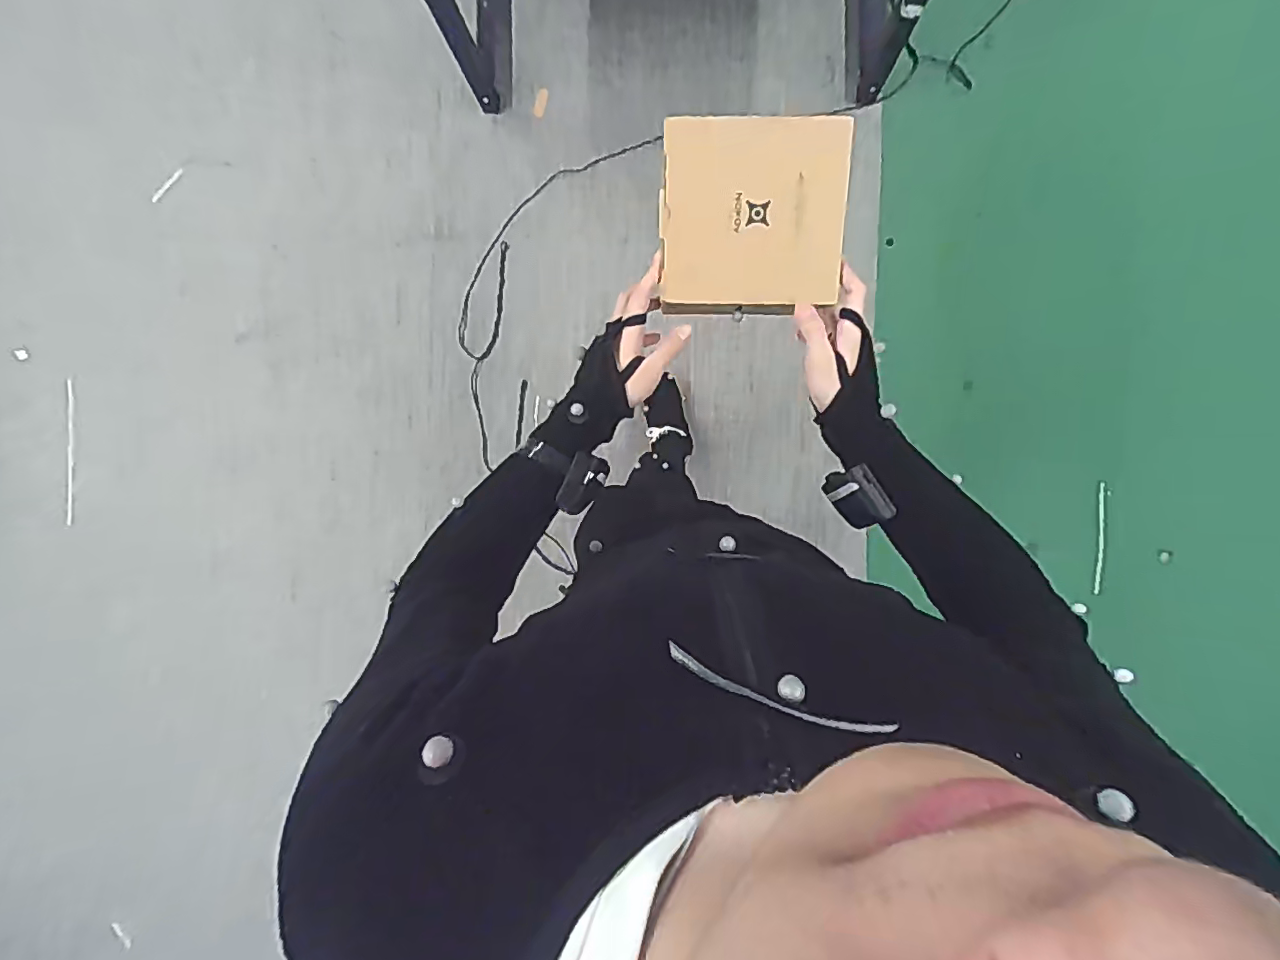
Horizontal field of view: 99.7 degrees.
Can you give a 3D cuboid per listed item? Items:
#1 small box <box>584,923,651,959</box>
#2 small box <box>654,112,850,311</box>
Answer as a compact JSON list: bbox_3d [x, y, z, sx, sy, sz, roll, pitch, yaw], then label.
[{"bbox_3d":[-0.060,1.283,1.381,0.168,0.176,0.179,0,91,4],"label":"small box"},{"bbox_3d":[0.108,-0.277,0.593,0.179,0.176,0.168,2,104,2],"label":"small box"}]
